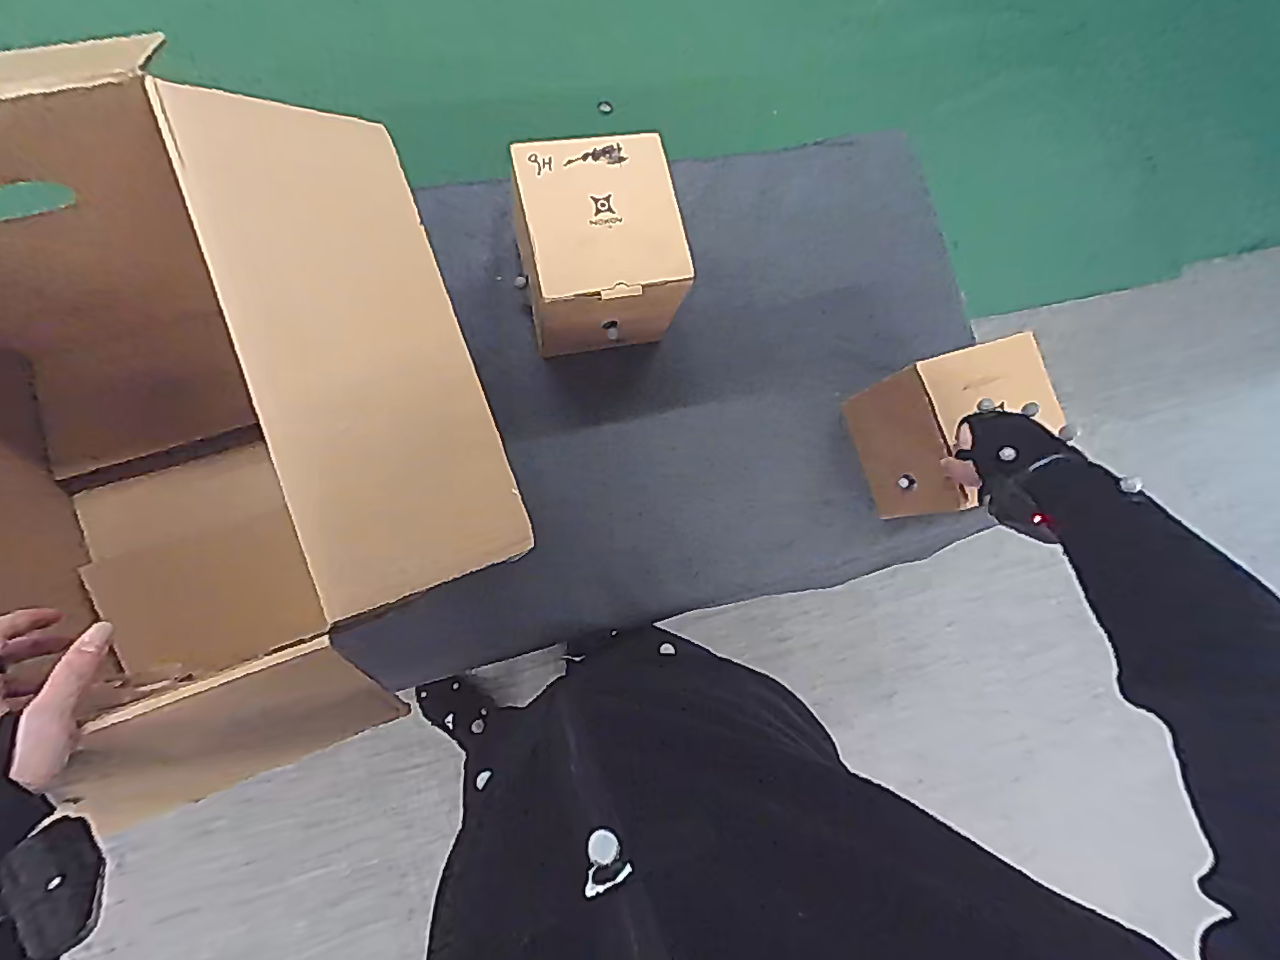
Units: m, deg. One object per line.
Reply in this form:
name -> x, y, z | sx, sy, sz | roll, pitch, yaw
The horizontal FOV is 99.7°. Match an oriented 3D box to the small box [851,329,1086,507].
small box -> 0.411, -0.068, 0.705 | 0.168, 0.176, 0.179 | -17, 85, -11

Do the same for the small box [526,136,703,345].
small box -> -0.039, -0.276, 0.659 | 0.168, 0.176, 0.179 | -11, 86, -12
